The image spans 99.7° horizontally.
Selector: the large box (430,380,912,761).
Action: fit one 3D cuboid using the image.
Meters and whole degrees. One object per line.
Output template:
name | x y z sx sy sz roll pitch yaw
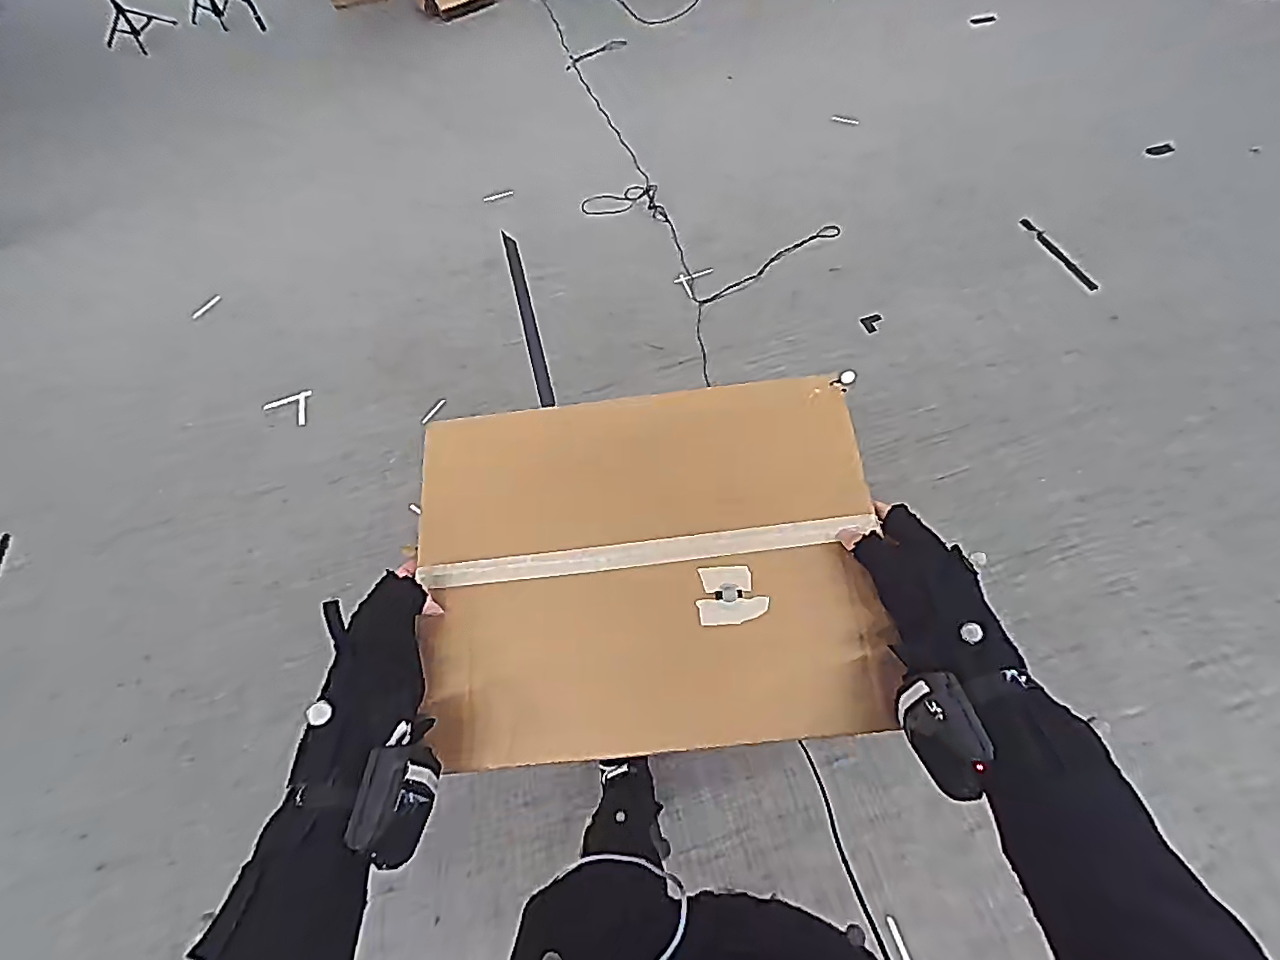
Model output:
large box | 0.016 0.119 0.629 0.408 0.320 0.320 -6 69 1
